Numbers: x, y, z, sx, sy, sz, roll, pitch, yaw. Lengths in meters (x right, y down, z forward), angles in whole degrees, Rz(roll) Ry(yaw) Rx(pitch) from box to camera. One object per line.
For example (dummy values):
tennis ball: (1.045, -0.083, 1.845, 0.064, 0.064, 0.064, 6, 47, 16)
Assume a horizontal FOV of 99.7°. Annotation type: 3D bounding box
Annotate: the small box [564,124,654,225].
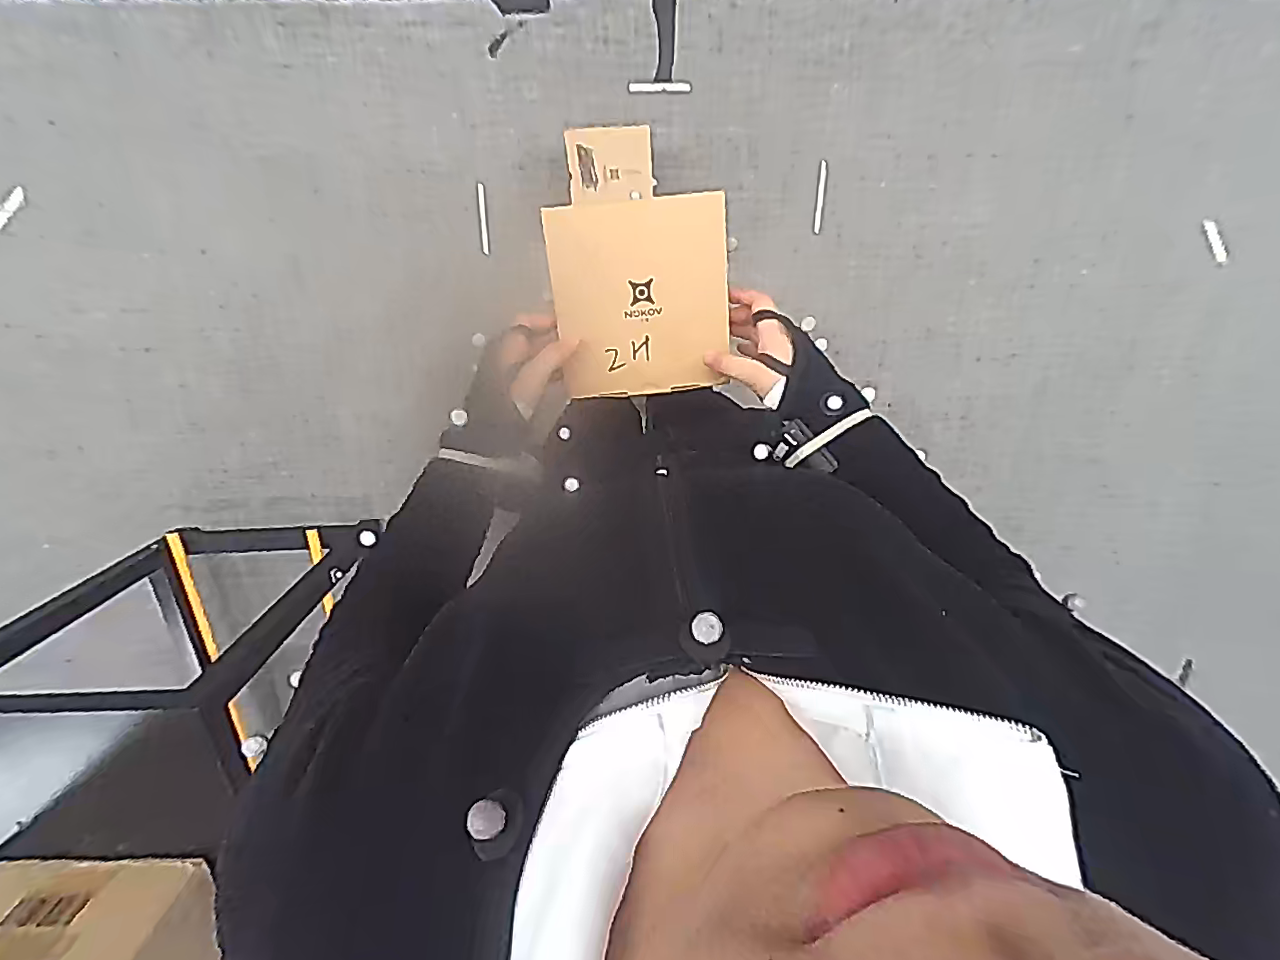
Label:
small box: (-0.063, -0.656, 1.177, 0.179, 0.176, 0.168, -4, 112, -1)
